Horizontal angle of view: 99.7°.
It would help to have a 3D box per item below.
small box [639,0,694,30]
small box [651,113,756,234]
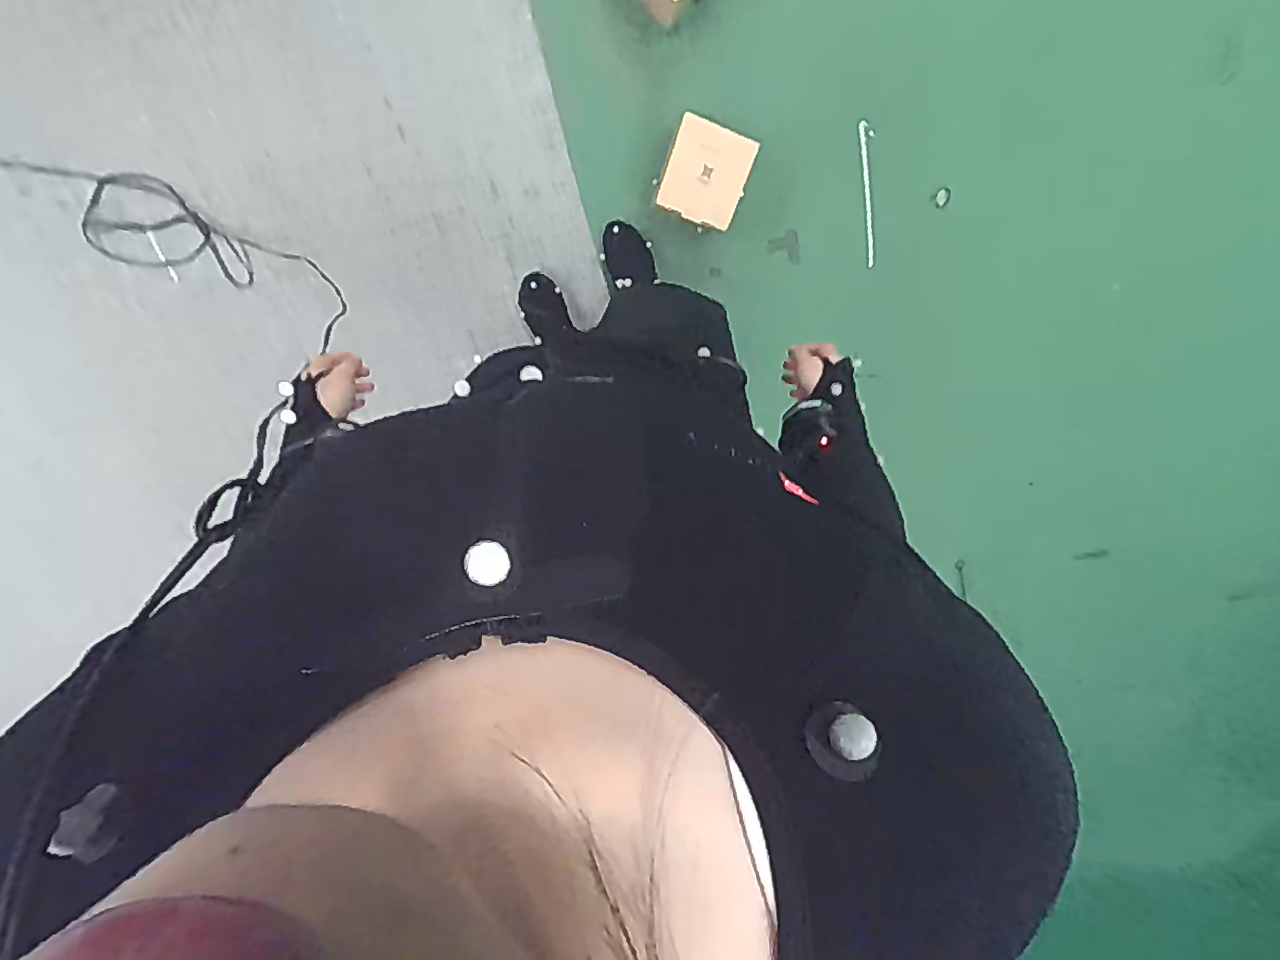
[{"bbox_3d":[0.061,-1.006,1.006,0.168,0.176,0.179,40,107,-19],"label":"small box"},{"bbox_3d":[0.128,-0.654,1.175,0.168,0.176,0.179,17,112,-11],"label":"small box"}]
